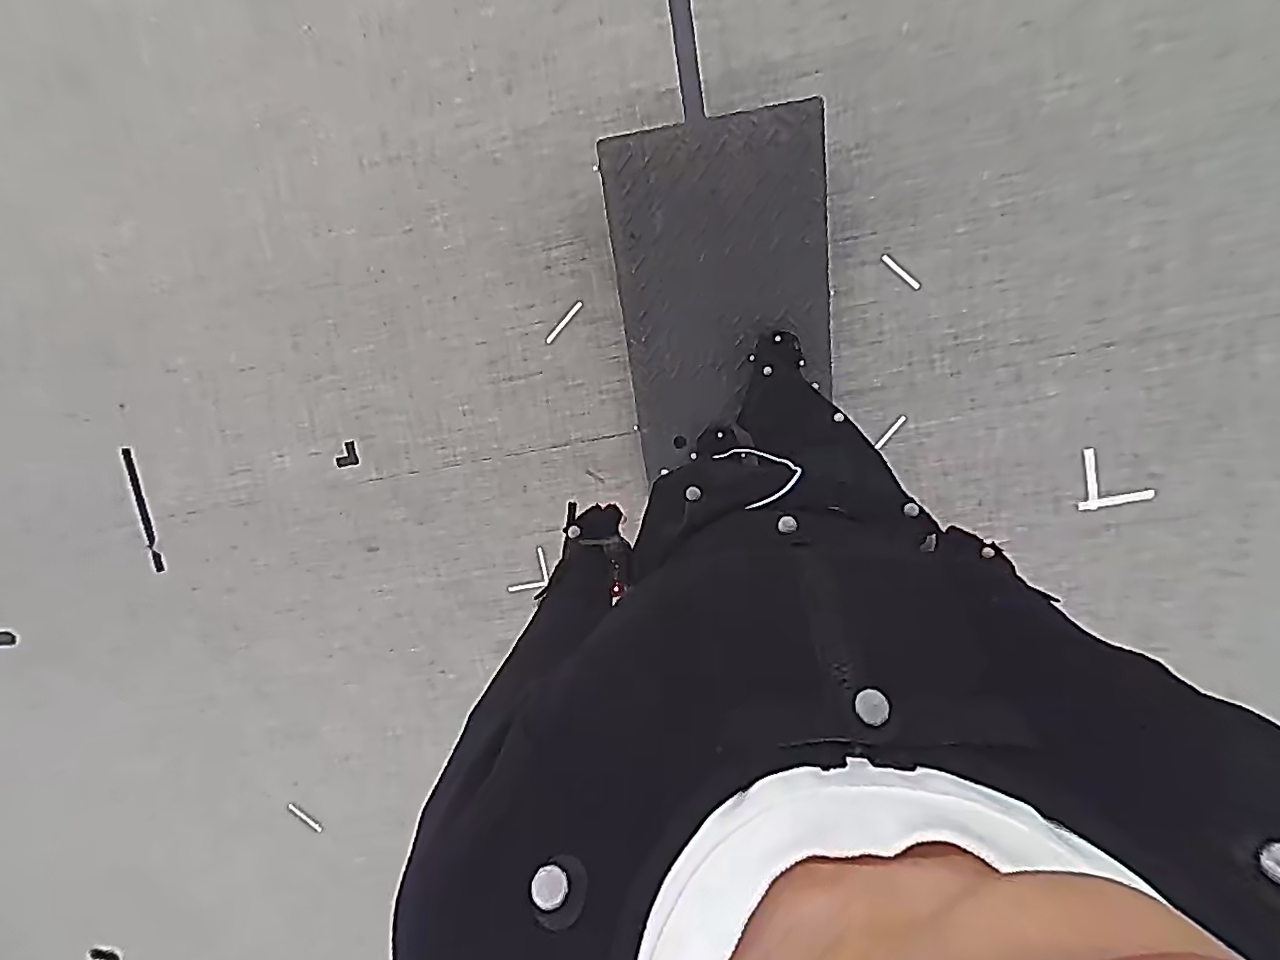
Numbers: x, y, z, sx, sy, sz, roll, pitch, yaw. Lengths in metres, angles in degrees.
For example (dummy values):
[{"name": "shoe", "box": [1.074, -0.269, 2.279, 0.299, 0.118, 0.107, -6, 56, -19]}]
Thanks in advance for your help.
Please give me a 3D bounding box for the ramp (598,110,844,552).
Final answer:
[{"name": "ramp", "box": [0.231, -0.295, 1.341, 0.509, 0.206, 0.991, -10, 98, 8]}]
